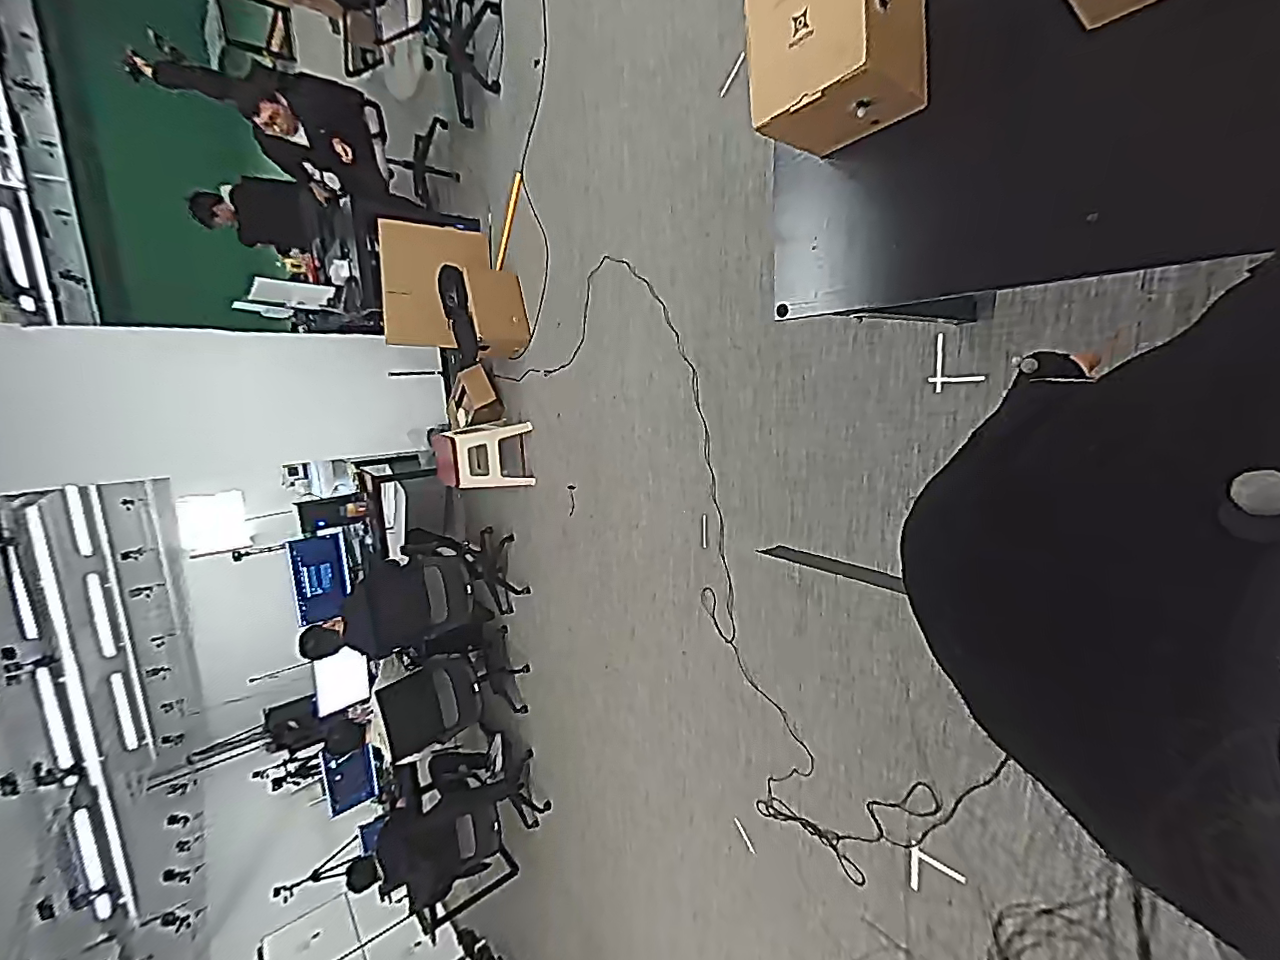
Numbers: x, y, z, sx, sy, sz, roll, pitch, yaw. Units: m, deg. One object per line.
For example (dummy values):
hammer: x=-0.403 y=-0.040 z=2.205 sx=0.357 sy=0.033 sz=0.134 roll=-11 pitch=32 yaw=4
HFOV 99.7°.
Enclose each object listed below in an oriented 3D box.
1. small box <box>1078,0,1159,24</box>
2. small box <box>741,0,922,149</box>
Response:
small box: x=0.465 y=-0.547 z=0.455 sx=0.168 sy=0.176 sz=0.179 roll=7 pitch=105 yaw=50
small box: x=0.254 y=-0.566 z=0.712 sx=0.168 sy=0.176 sz=0.179 roll=3 pitch=100 yaw=49
